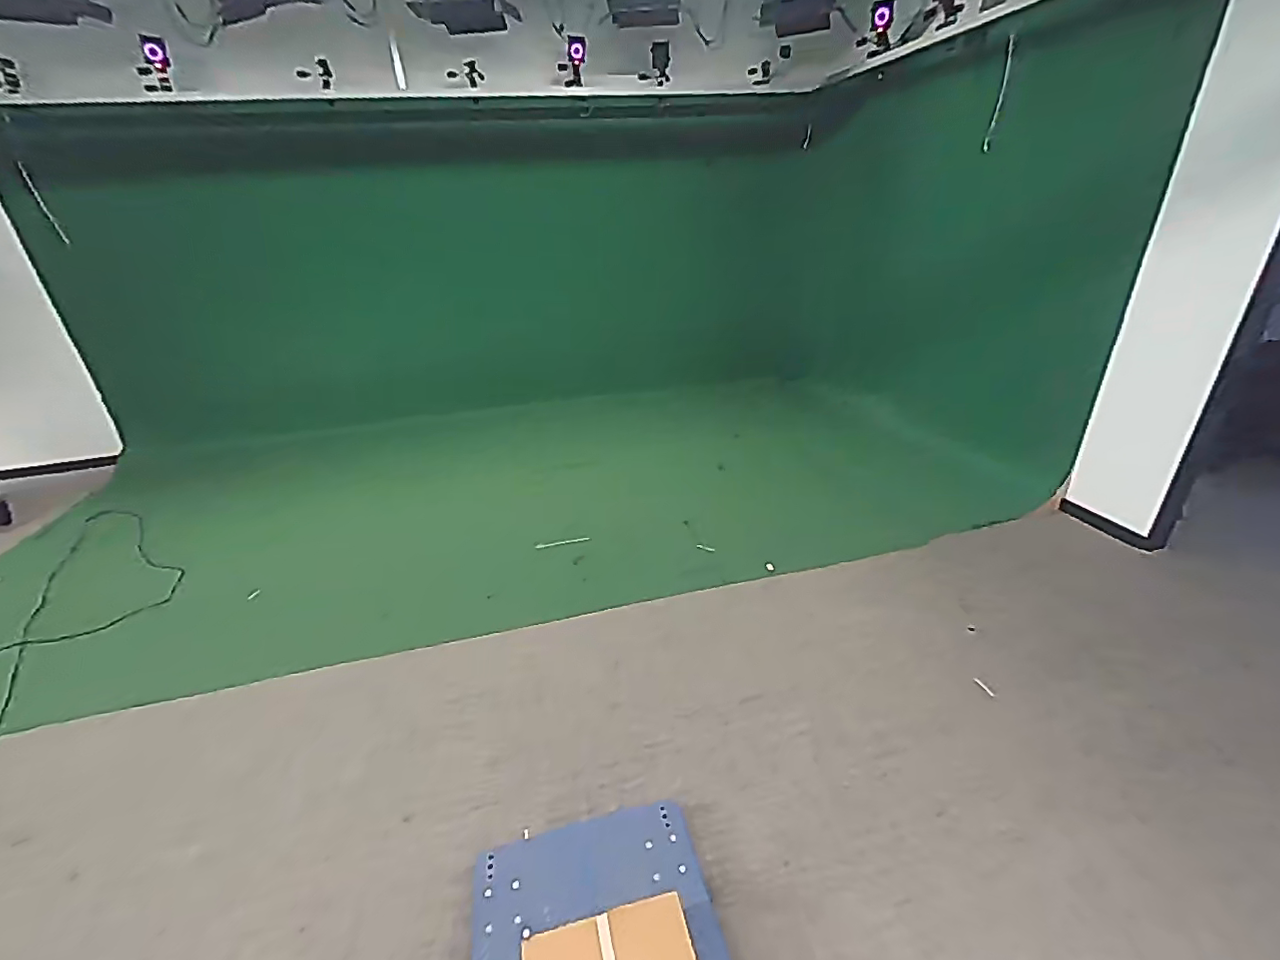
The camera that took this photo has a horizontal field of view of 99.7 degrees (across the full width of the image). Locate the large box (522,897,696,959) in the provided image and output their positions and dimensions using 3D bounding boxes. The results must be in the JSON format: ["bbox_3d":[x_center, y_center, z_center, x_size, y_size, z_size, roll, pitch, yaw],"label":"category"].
[{"bbox_3d":[-0.014,1.075,0.944,0.320,0.320,0.408,-9,26,-12],"label":"large box"}]
